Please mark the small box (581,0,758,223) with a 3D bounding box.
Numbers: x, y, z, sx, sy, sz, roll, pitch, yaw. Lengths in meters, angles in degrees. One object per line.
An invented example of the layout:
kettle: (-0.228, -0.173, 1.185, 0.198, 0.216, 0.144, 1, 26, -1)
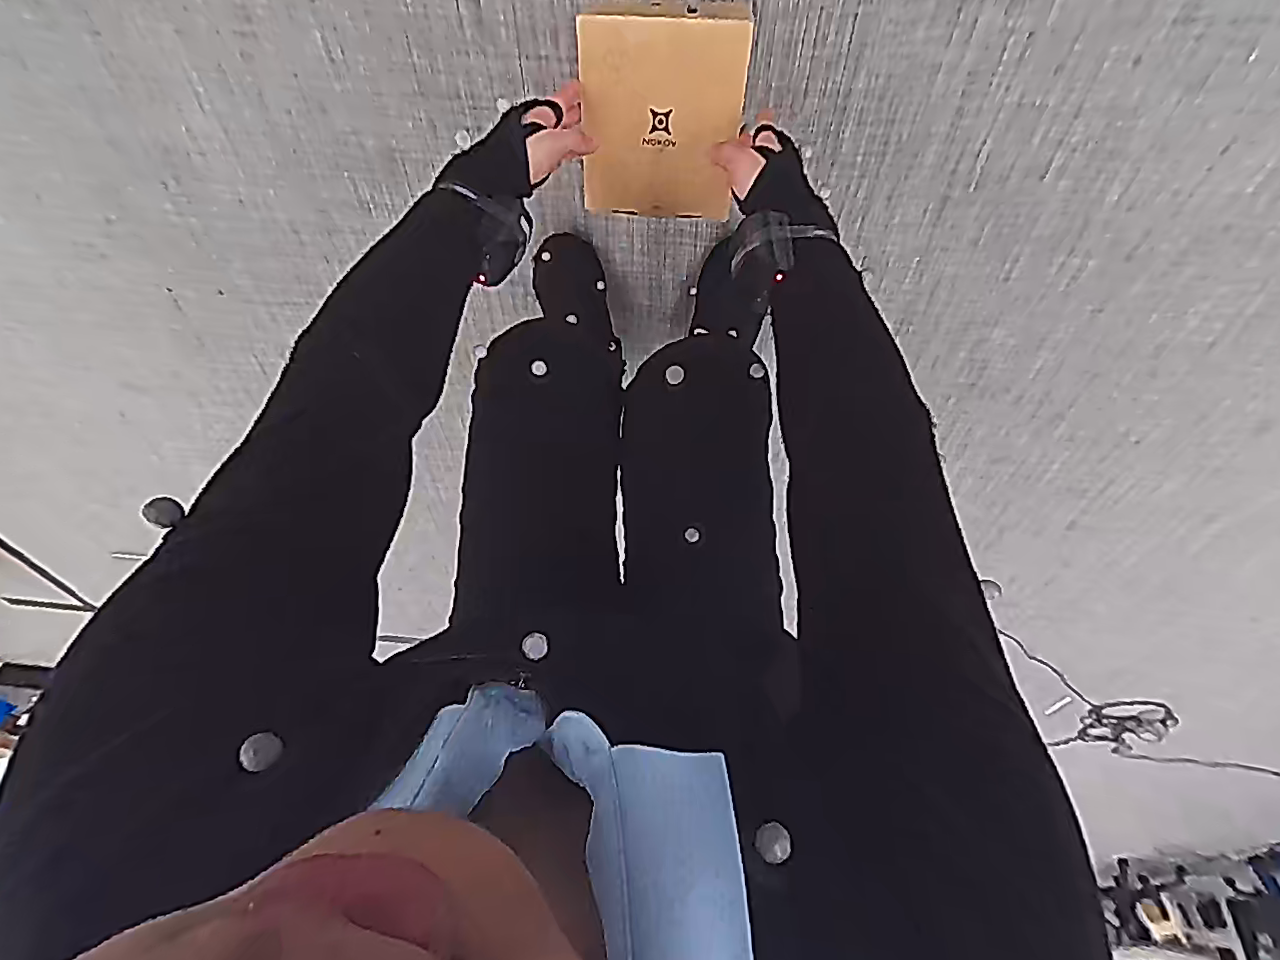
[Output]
small box: (0.030, -0.412, 0.602, 0.168, 0.176, 0.179, 6, 136, 3)
